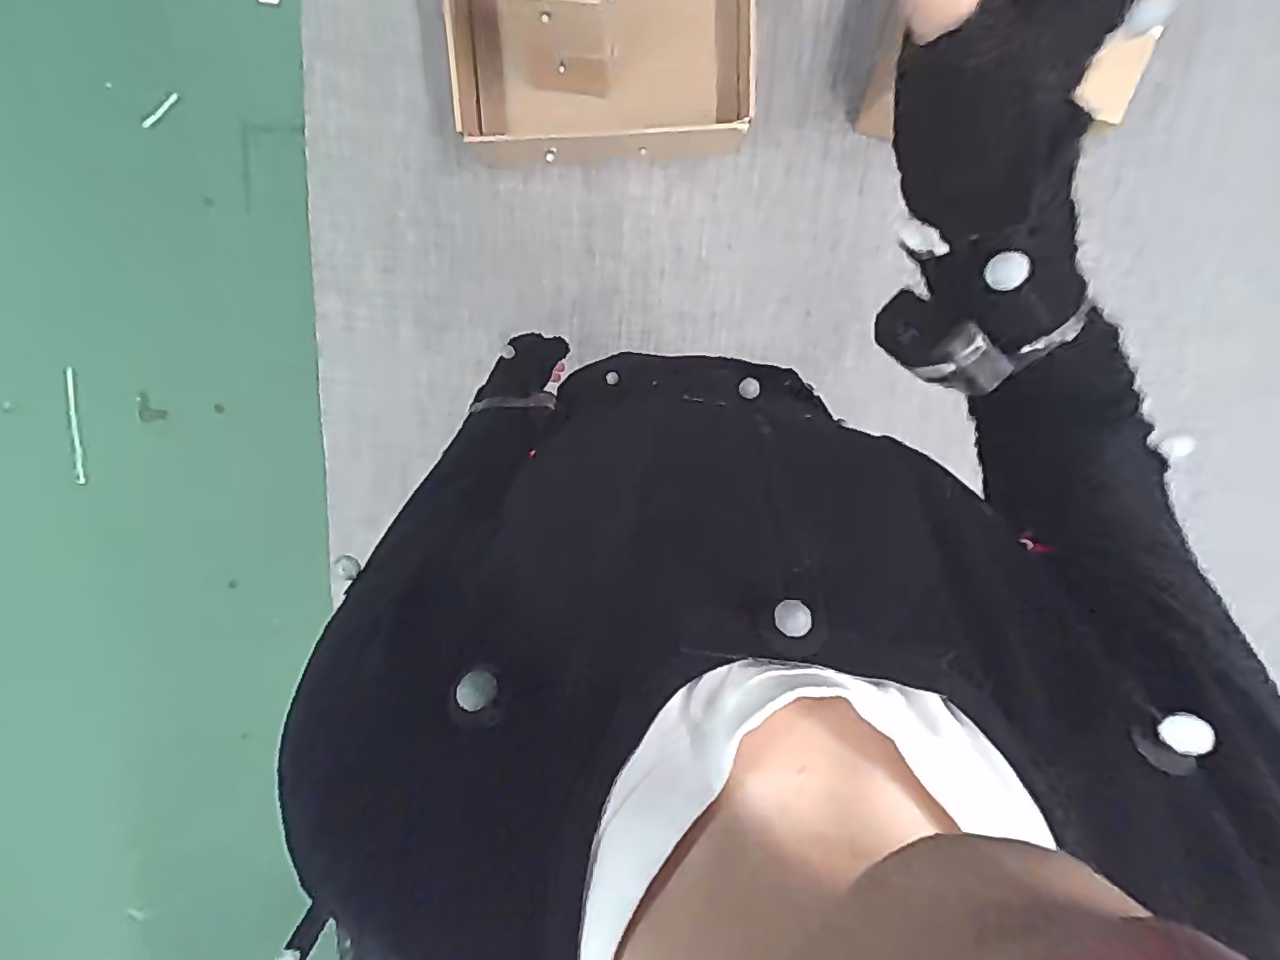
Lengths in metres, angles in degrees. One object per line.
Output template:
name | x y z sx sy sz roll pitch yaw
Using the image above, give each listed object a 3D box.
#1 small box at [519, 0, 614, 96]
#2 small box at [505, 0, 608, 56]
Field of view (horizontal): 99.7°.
small box | -0.148 -0.941 1.136 0.179 0.176 0.168 4 103 -3
small box | -0.148 -0.906 0.975 0.179 0.176 0.168 3 103 -3
